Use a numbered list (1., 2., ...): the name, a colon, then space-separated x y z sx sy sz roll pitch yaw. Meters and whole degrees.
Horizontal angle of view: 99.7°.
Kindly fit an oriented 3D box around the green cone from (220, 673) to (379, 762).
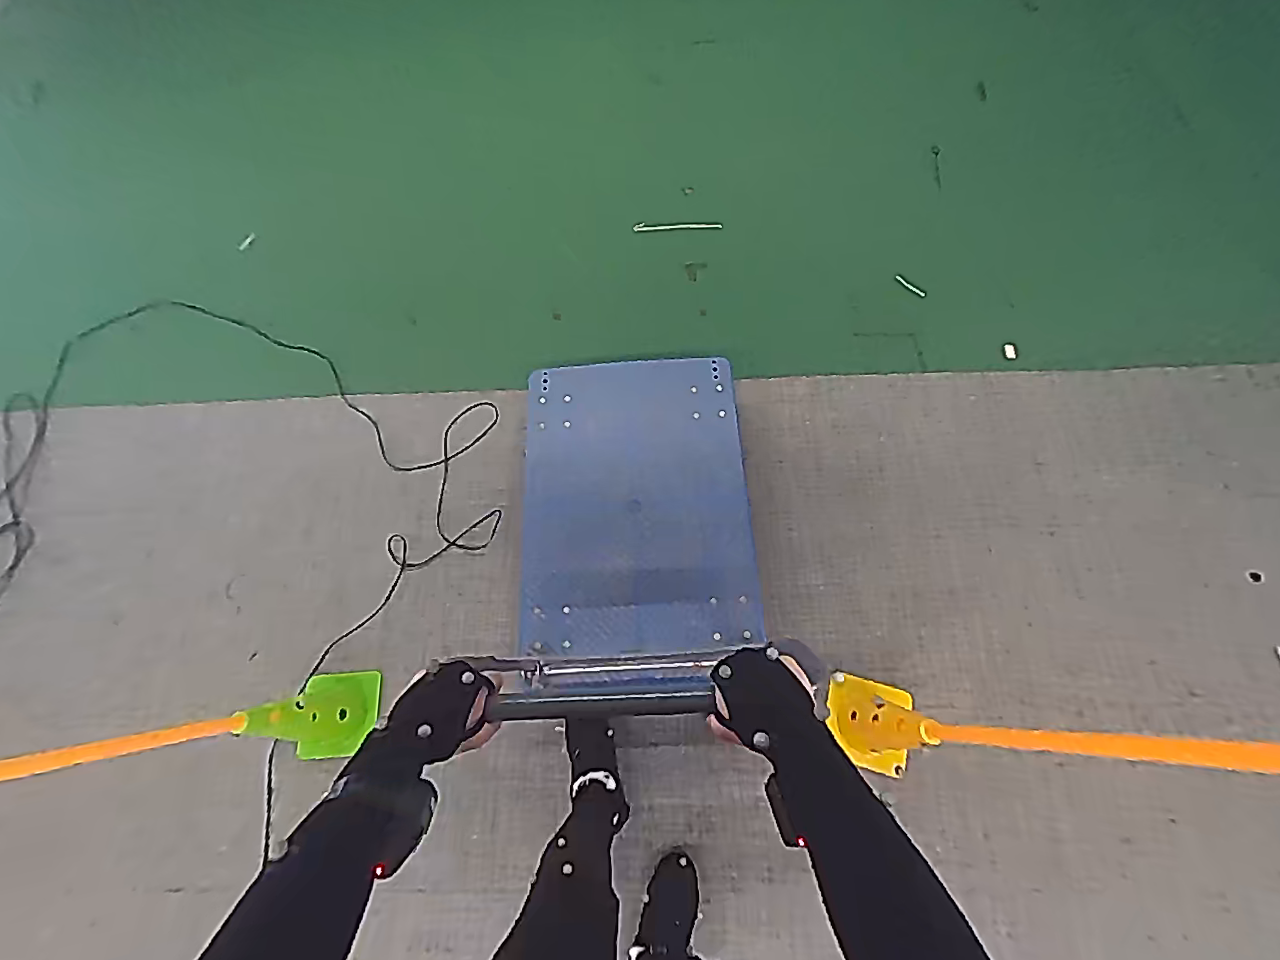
1. green cone: -0.785 0.542 1.225 0.202 0.368 0.200 -6 68 3
